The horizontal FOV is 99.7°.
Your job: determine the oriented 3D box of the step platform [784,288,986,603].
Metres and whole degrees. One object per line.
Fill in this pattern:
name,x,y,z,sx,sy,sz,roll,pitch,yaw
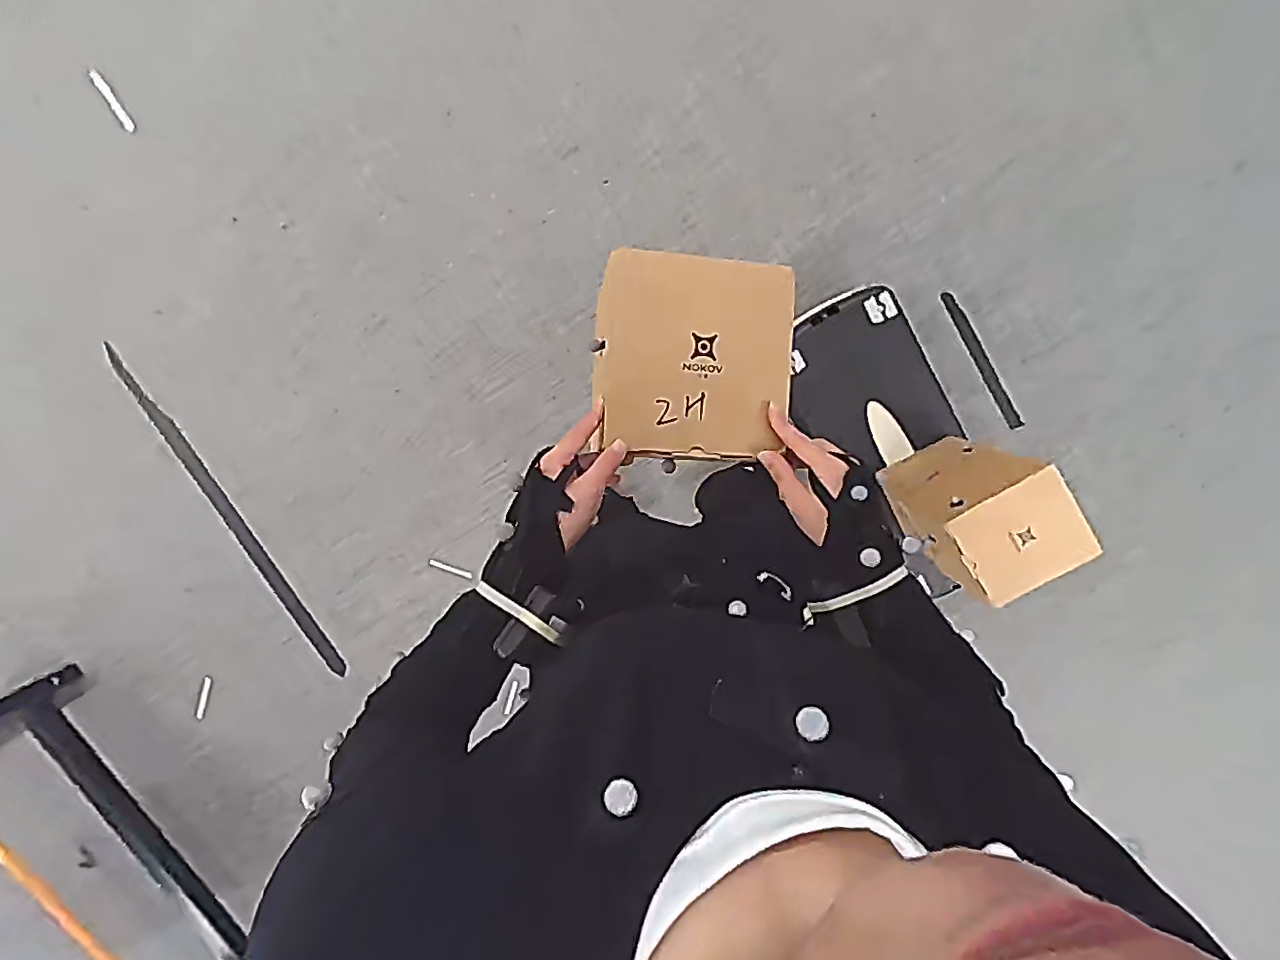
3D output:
step platform,0.565,-0.069,1.208,0.286,0.204,0.684,-31,96,8

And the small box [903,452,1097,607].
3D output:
small box,0.576,0.070,0.890,0.179,0.176,0.168,-32,97,9

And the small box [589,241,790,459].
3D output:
small box,0.037,-0.114,0.549,0.168,0.176,0.179,3,92,-9
